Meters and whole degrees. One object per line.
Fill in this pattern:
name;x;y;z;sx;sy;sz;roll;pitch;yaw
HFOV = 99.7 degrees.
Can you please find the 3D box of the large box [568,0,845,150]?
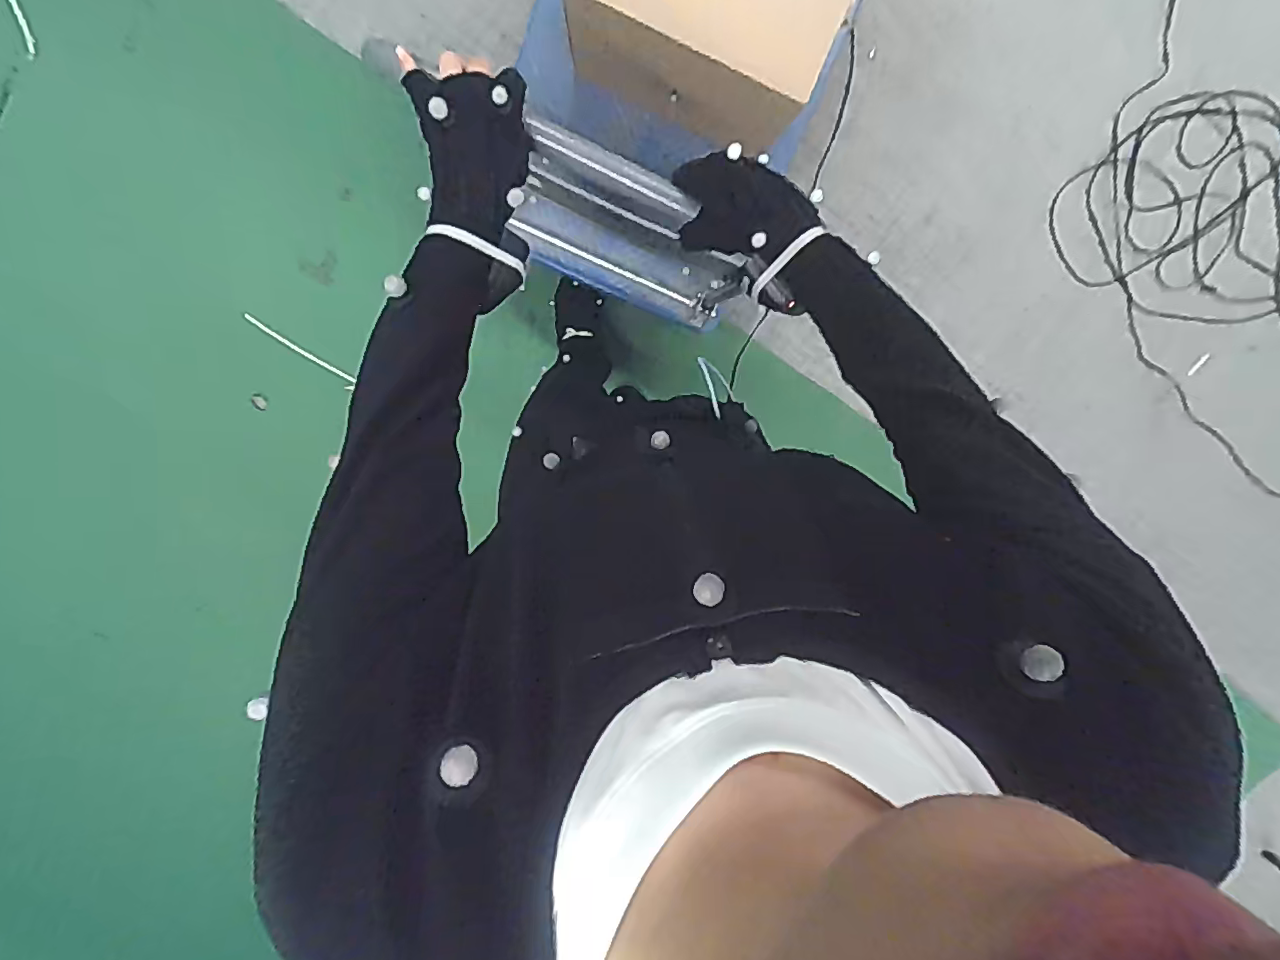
large box;0.124;-0.837;0.918;0.408;0.320;0.320;20;104;-8
